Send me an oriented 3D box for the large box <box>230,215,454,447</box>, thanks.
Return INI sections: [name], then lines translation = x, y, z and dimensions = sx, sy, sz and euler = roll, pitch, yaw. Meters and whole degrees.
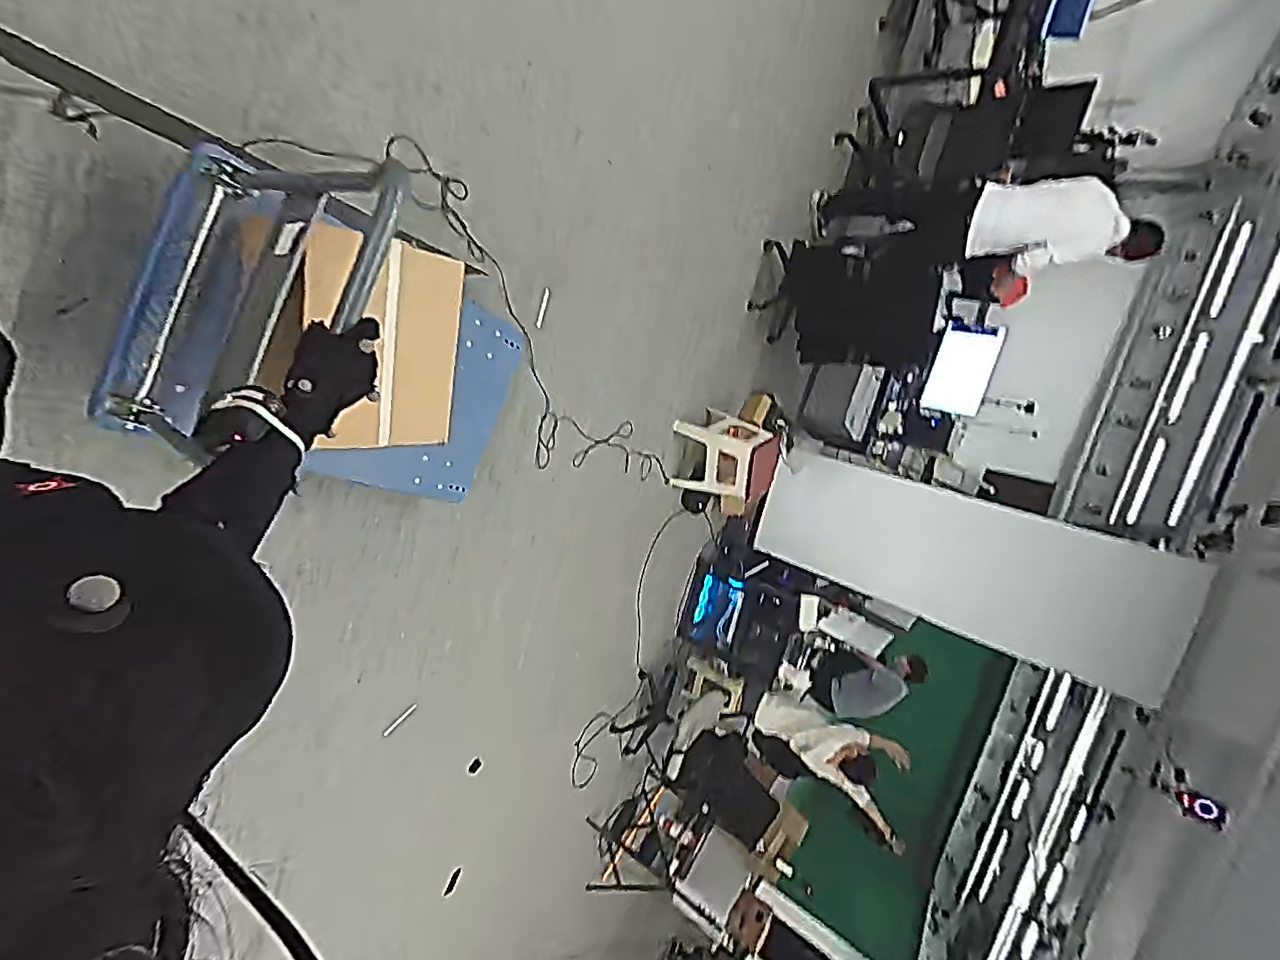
[large box]
translation = -0.638, -0.308, 1.154
dimensions = 0.320, 0.320, 0.408
euler = -7, 113, -53
